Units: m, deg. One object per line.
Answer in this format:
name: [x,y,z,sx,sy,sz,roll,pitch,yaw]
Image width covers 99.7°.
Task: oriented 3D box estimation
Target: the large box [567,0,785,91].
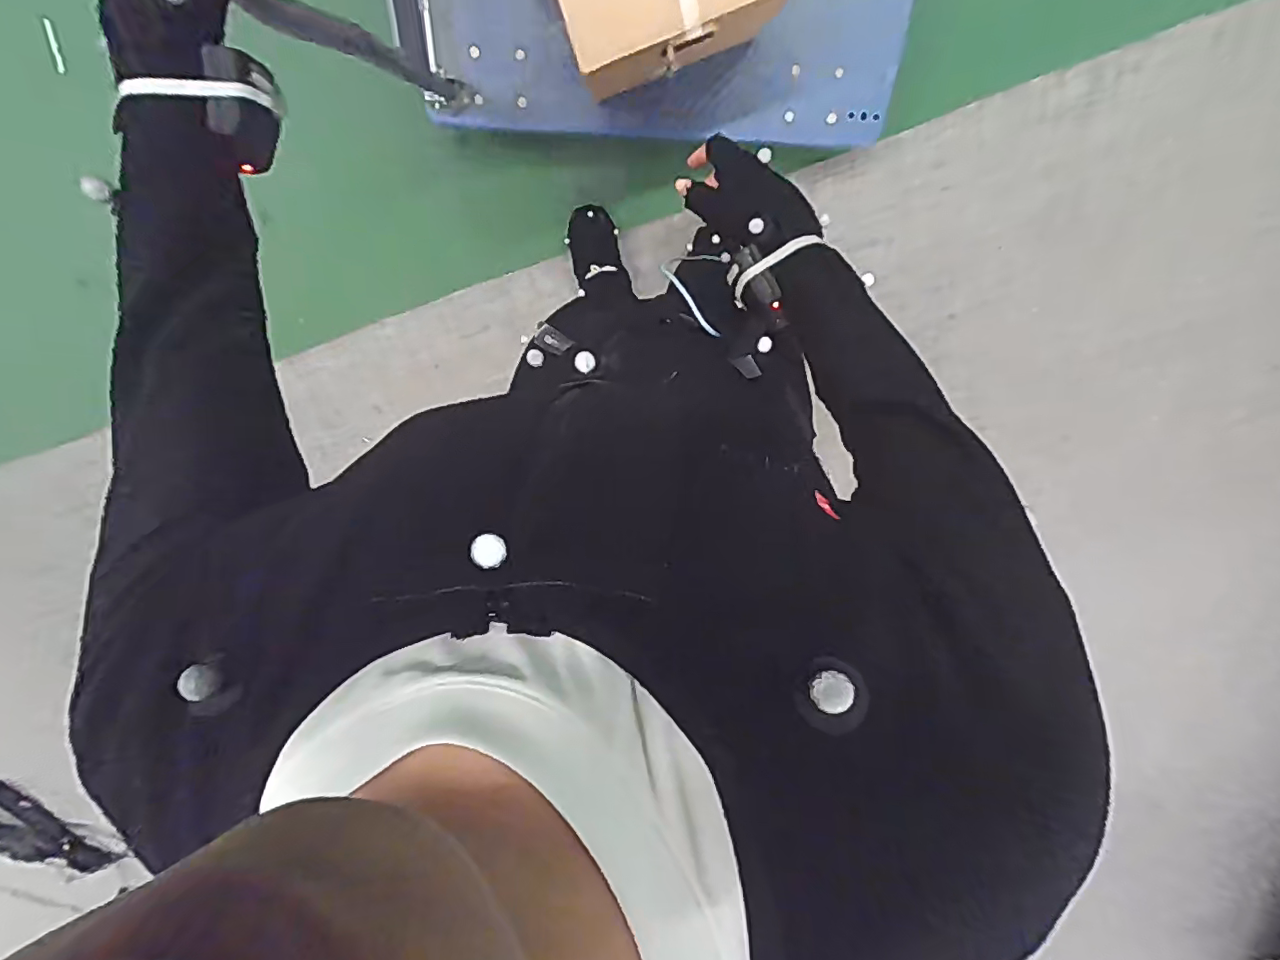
large box: [0.015,-0.840,0.746,0.320,0.320,0.408,-16,118,8]
